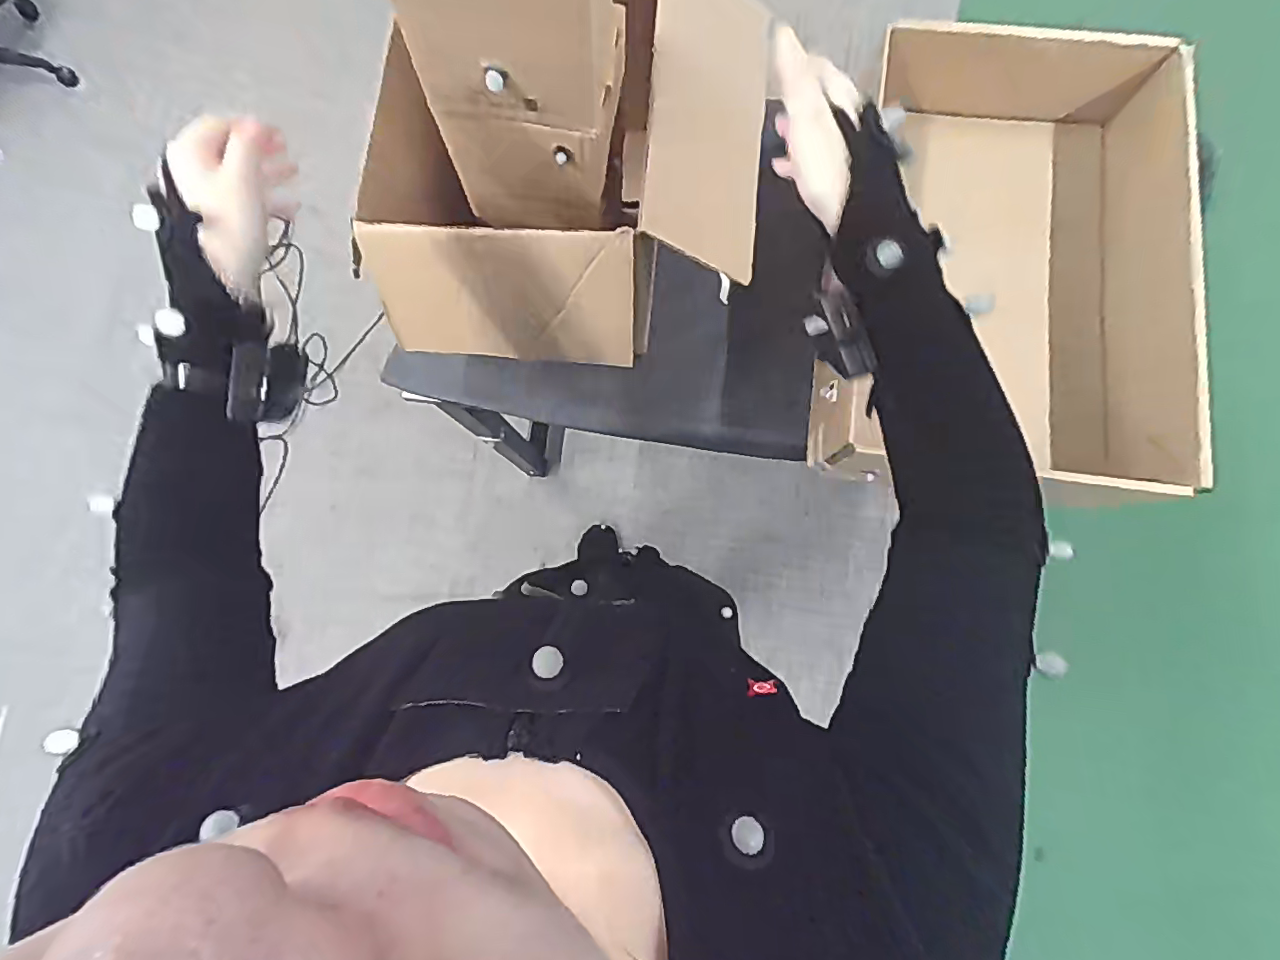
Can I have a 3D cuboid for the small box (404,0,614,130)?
[{"bbox_3d":[-0.111,-0.457,0.475,0.168,0.176,0.179,6,79,-2],"label":"small box"}]
